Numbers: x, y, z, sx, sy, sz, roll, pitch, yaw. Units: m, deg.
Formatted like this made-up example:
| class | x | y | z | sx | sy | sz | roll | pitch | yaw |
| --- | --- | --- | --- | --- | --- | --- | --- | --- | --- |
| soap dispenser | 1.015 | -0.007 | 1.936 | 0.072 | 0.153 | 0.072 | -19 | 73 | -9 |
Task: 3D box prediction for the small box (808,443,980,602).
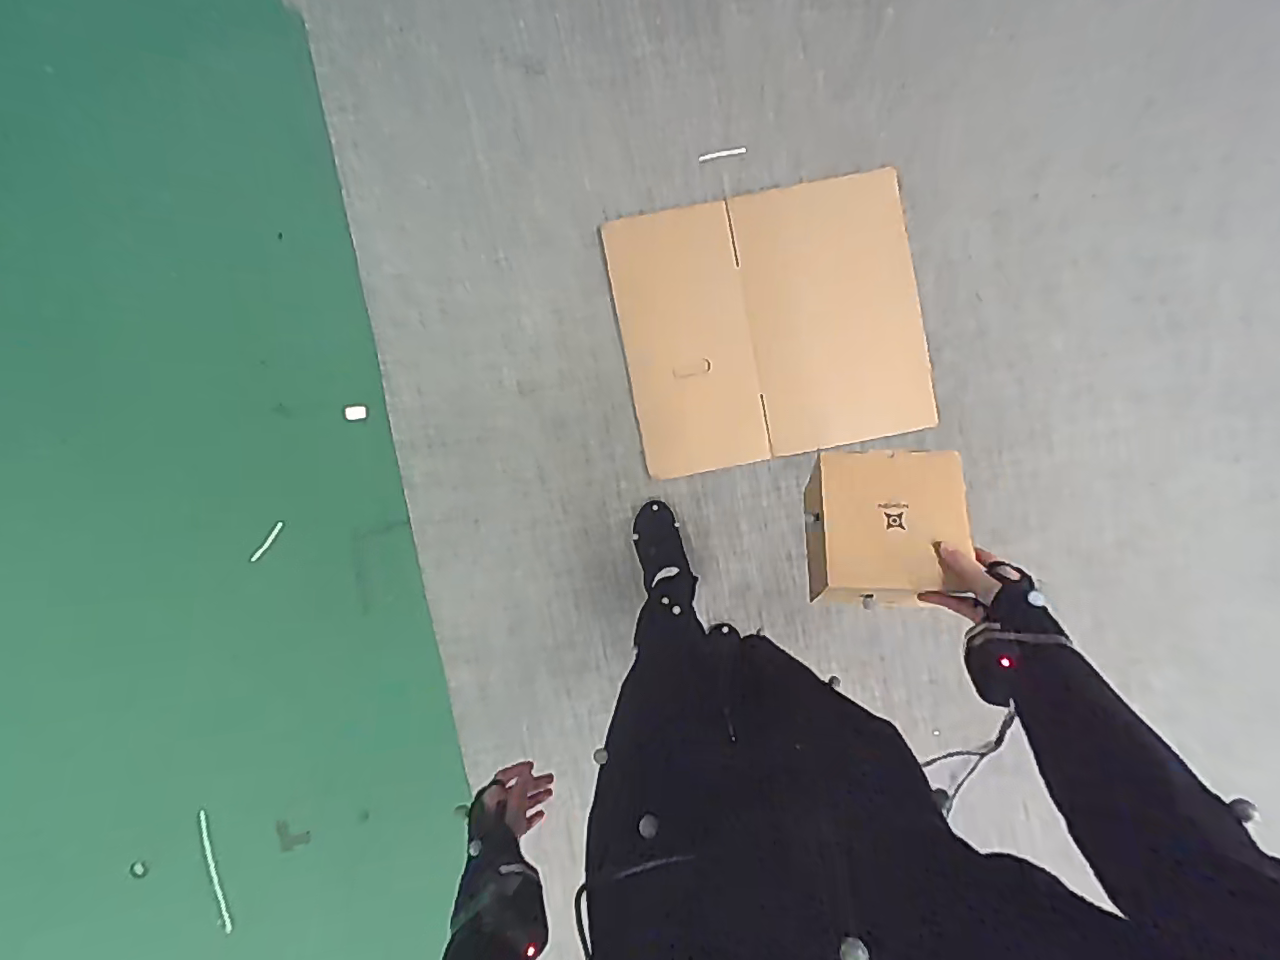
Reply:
| class | x | y | z | sx | sy | sz | roll | pitch | yaw |
| --- | --- | --- | --- | --- | --- | --- | --- | --- | --- |
| small box | 0.320 | 0.065 | 0.718 | 0.168 | 0.176 | 0.179 | -1 | 69 | 11 |
